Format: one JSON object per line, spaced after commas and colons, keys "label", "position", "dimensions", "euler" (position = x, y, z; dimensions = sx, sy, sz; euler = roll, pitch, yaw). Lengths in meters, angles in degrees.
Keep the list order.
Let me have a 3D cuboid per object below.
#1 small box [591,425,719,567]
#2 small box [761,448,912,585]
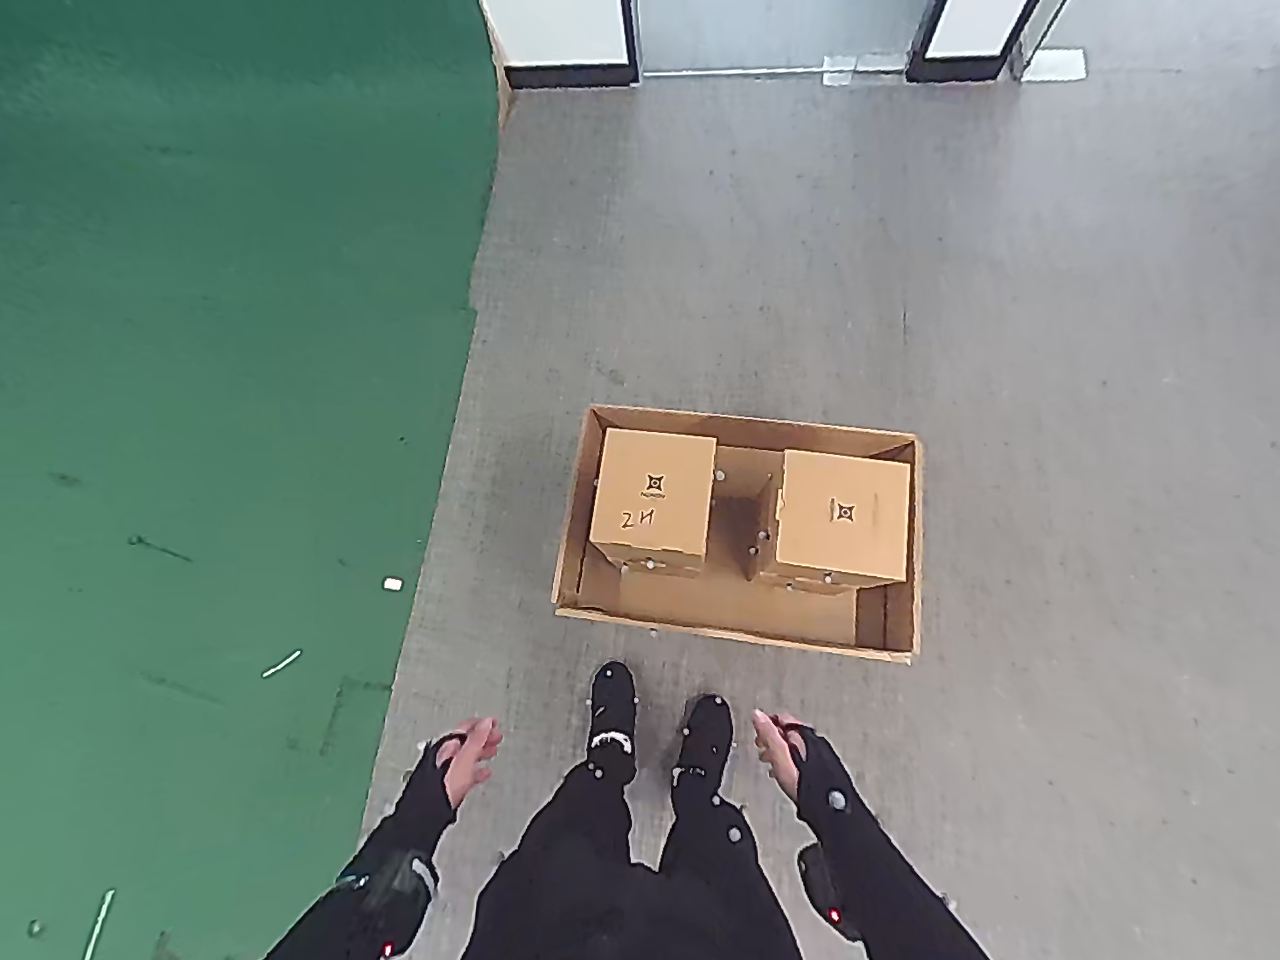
{"label": "small box", "position": [0.028, 0.032, 0.849], "dimensions": [0.168, 0.176, 0.179], "euler": [7, 75, 7]}
{"label": "small box", "position": [0.287, 0.064, 0.821], "dimensions": [0.179, 0.176, 0.168], "euler": [8, 77, 7]}
